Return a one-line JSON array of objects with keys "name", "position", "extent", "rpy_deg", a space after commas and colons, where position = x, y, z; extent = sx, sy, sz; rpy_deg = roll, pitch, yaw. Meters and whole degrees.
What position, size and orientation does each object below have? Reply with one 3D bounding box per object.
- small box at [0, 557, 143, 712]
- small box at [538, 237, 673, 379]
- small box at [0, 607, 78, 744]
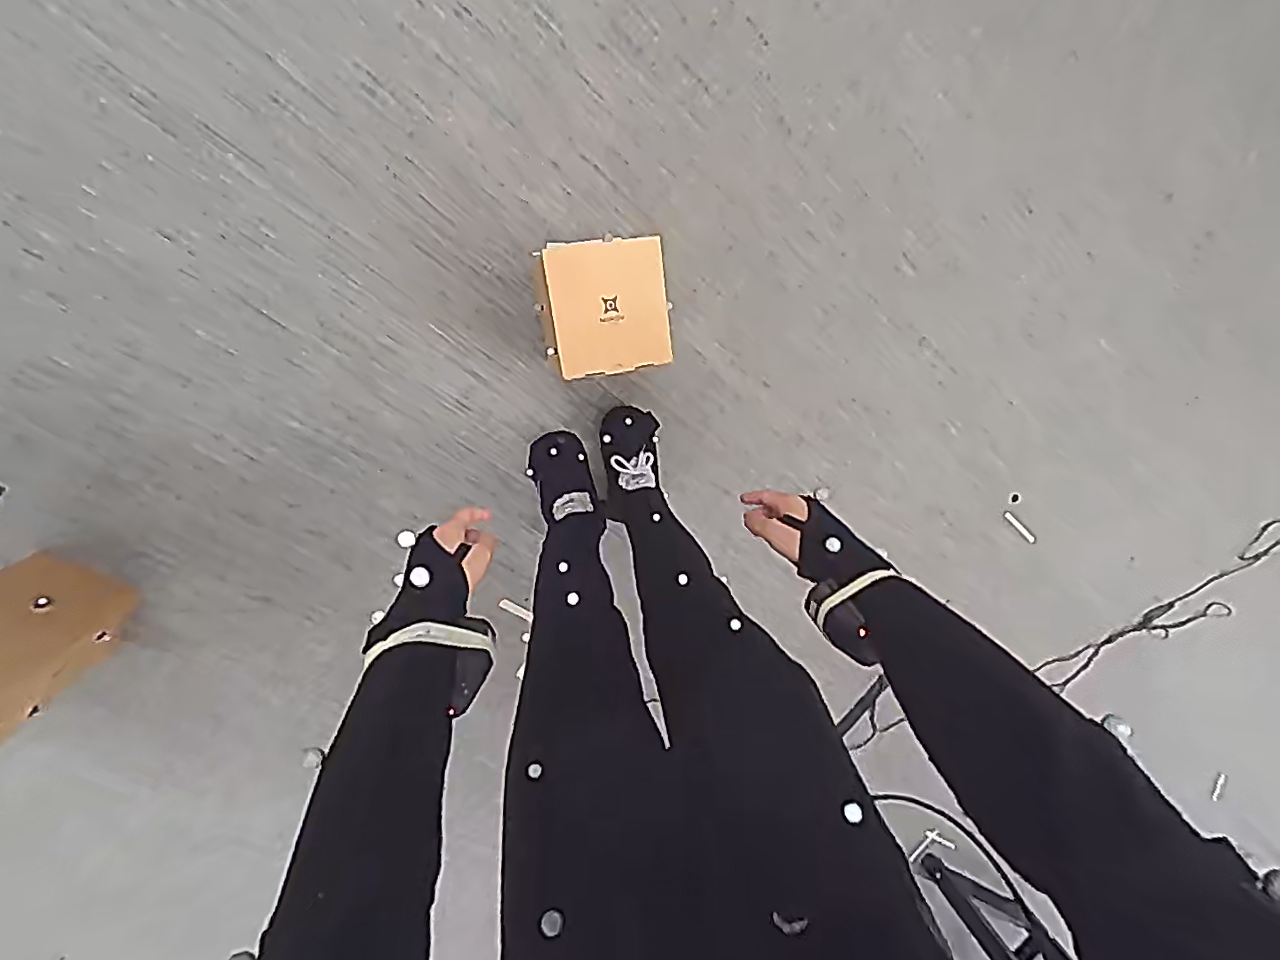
[{"name": "small box", "position": [-1.040, 0.260, 0.944], "extent": [0.179, 0.176, 0.168], "rpy_deg": [31, 97, -18]}, {"name": "small box", "position": [-0.058, -0.261, 0.827], "extent": [0.168, 0.176, 0.179], "rpy_deg": [-12, 110, -10]}, {"name": "small box", "position": [-1.003, 0.302, 0.789], "extent": [0.179, 0.176, 0.168], "rpy_deg": [32, 97, -19]}]
